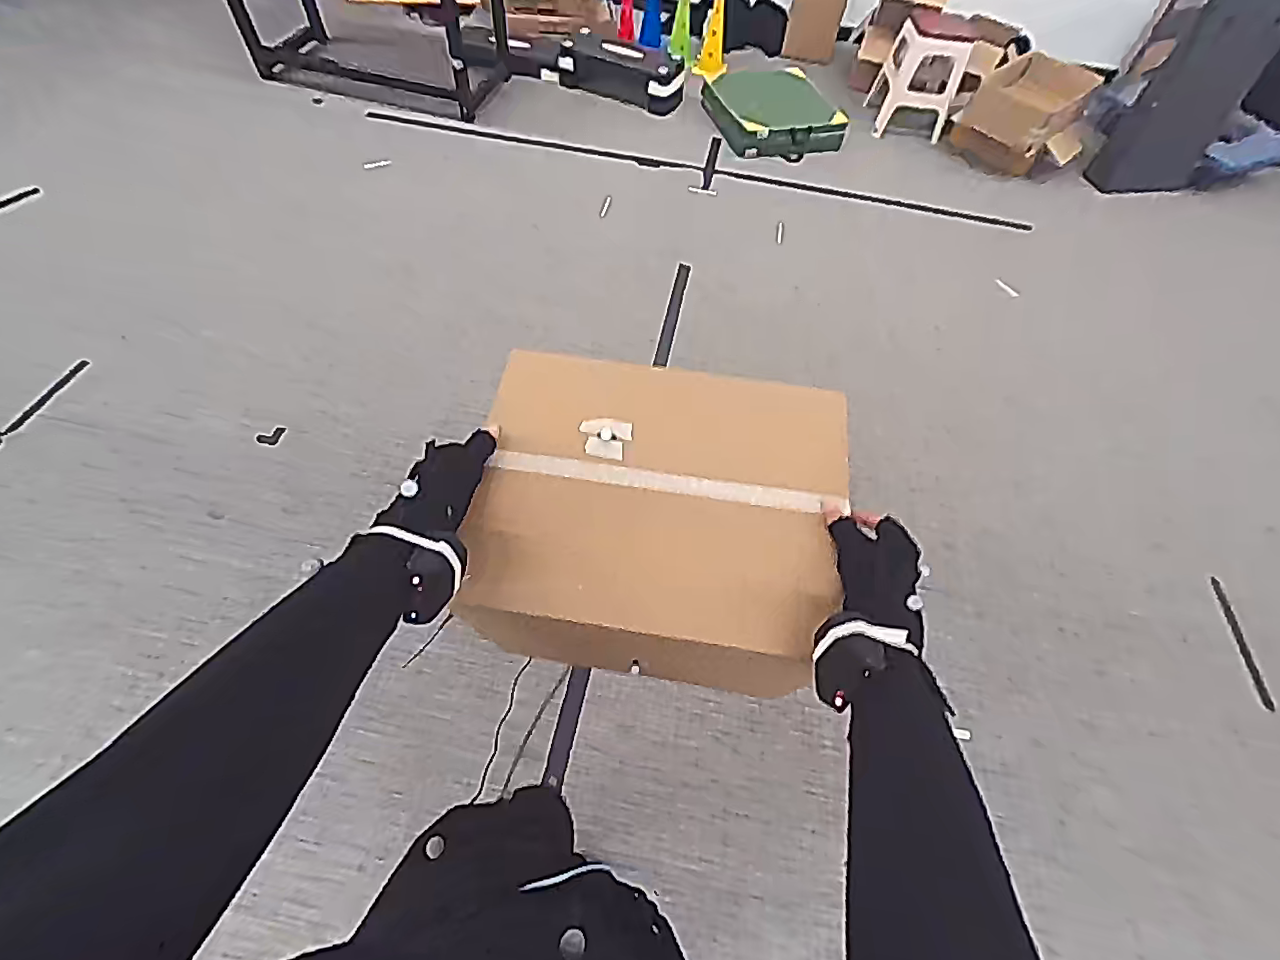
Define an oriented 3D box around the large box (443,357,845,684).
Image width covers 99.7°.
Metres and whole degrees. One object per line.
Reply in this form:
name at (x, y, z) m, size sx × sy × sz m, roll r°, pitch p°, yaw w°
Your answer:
large box at (0.023, 0.072, 0.722) m, size 0.408 × 0.320 × 0.320 m, roll 8°, pitch 62°, yaw 5°
